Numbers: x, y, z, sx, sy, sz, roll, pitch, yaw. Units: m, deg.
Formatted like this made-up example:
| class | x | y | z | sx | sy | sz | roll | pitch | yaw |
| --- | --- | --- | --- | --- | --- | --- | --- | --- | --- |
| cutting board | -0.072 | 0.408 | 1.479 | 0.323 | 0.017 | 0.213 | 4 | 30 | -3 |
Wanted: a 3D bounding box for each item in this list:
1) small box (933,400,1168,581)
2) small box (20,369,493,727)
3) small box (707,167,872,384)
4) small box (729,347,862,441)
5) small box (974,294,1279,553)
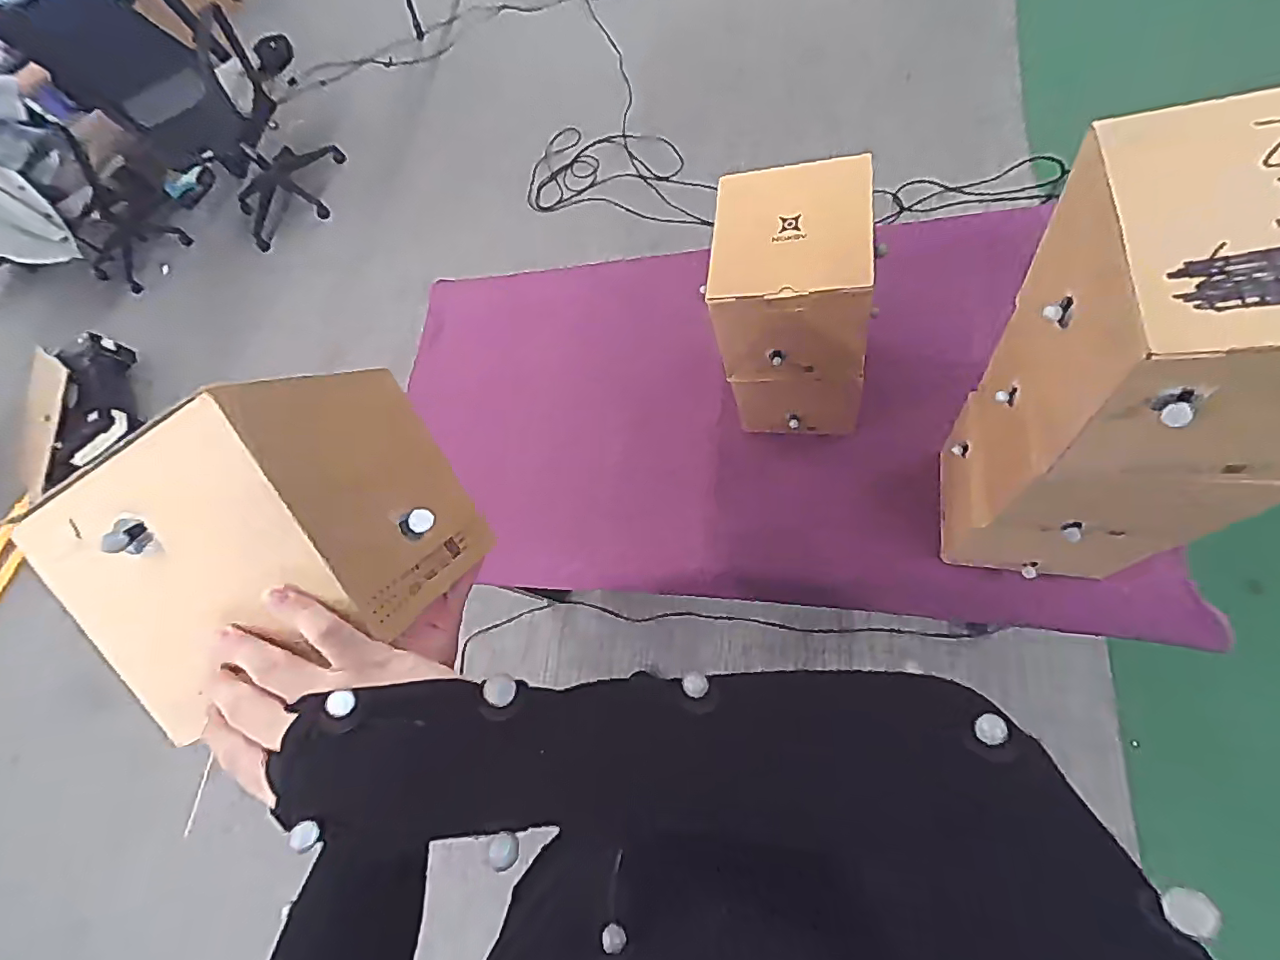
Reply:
| class | x | y | z | sx | sy | sz | roll | pitch | yaw |
| --- | --- | --- | --- | --- | --- | --- | --- | --- | --- |
| small box | 0.465 | 0.019 | 0.644 | 0.179 | 0.176 | 0.168 | 4 | 69 | 19 |
| small box | -0.242 | 0.040 | 0.386 | 0.179 | 0.168 | 0.176 | -26 | 100 | 13 |
| small box | 0.181 | -0.232 | 0.650 | 0.168 | 0.176 | 0.179 | 2 | 71 | 17 |
| small box | 0.232 | -0.174 | 0.793 | 0.168 | 0.176 | 0.179 | 5 | 71 | 19 |
| small box | 0.421 | -0.045 | 0.499 | 0.168 | 0.176 | 0.179 | 4 | 70 | 21 |
